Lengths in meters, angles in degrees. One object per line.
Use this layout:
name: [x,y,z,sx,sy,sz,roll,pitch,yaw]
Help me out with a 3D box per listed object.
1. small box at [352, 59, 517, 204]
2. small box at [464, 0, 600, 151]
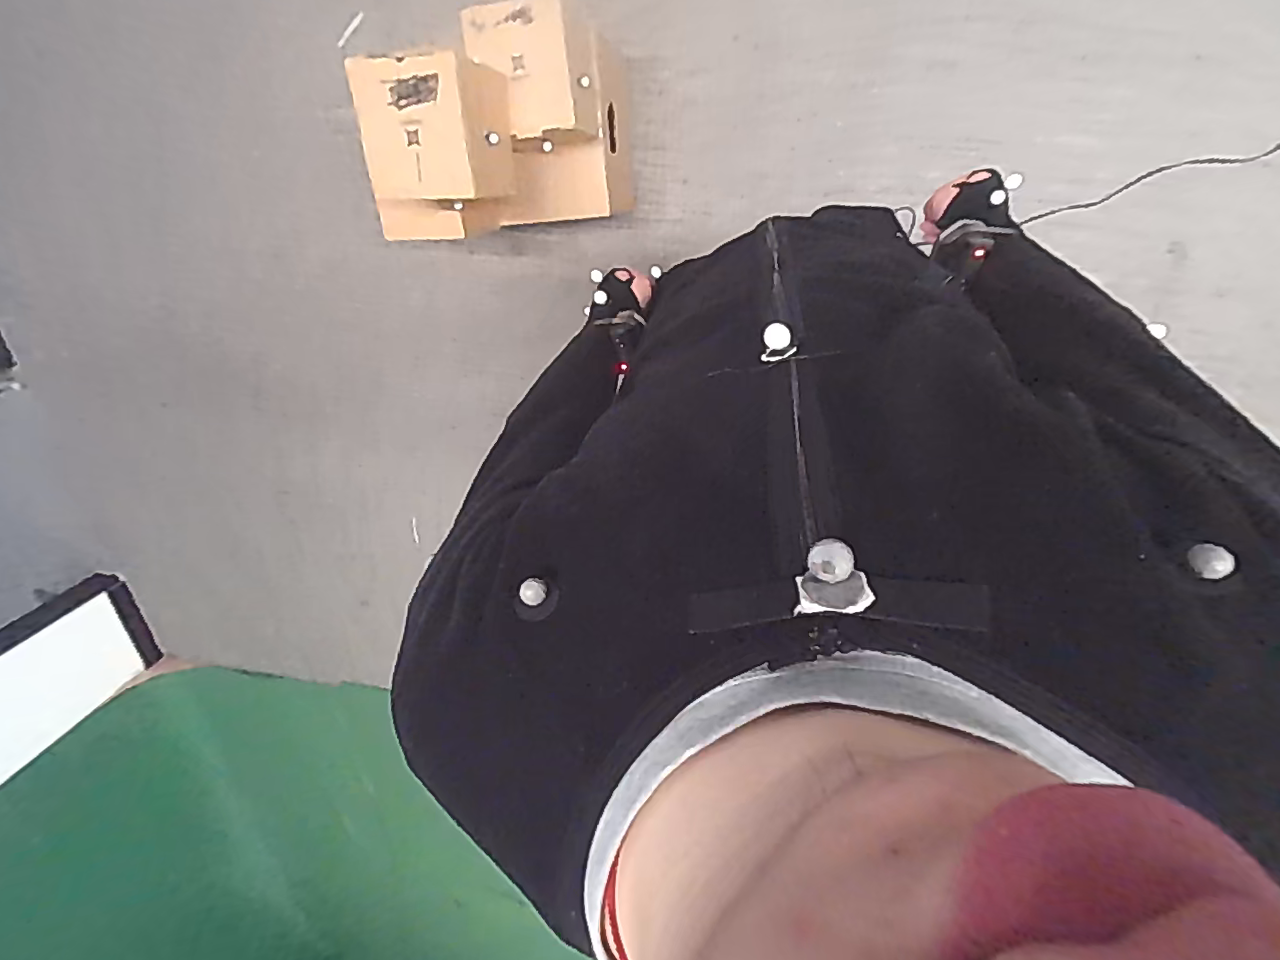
small box: [-0.306,-0.533,0.847,0.168,0.176,0.179,5,120,10]
small box: [-0.173,-0.679,0.932,0.168,0.176,0.179,-1,117,12]
